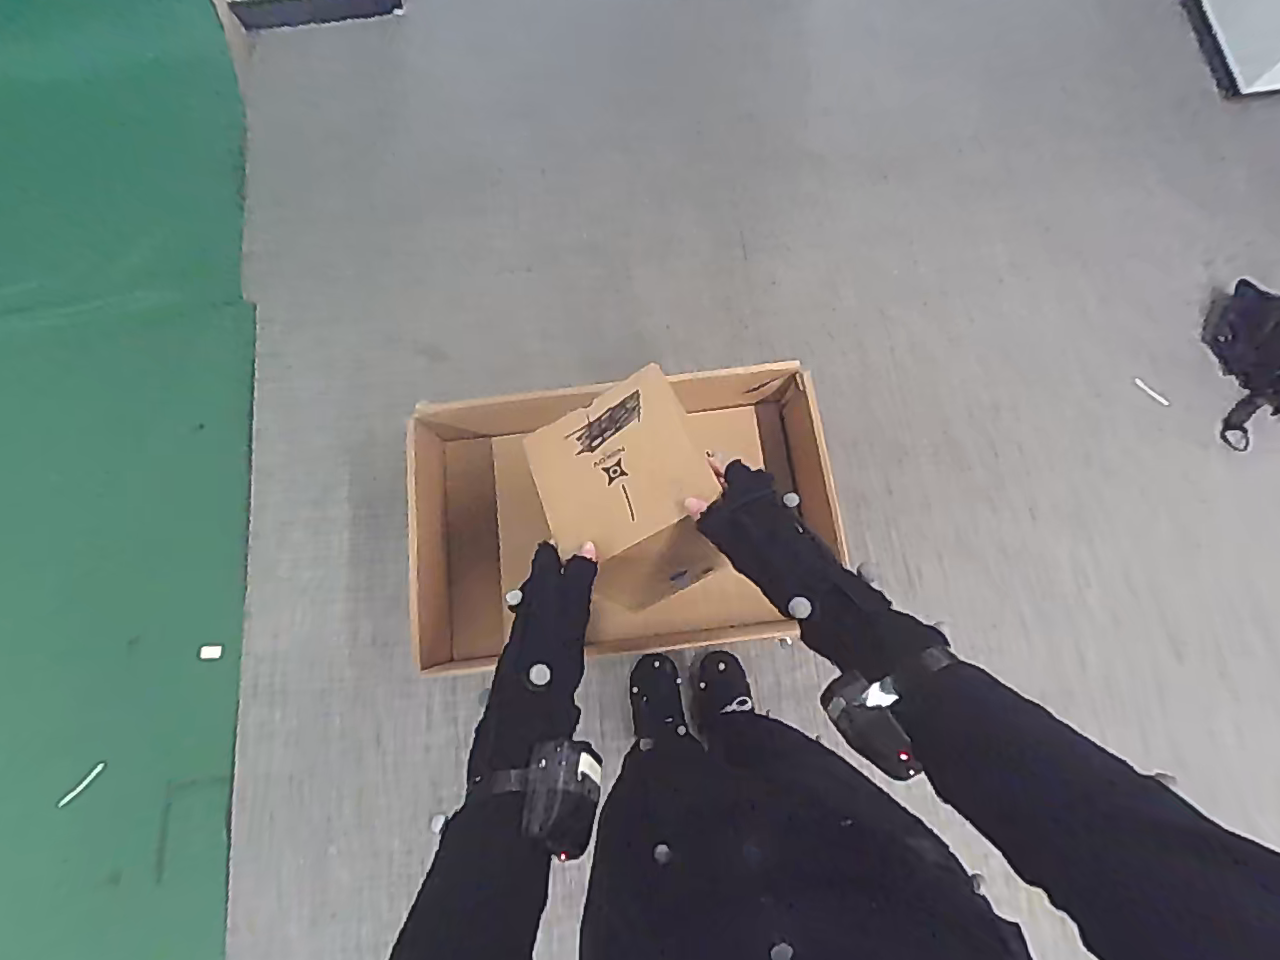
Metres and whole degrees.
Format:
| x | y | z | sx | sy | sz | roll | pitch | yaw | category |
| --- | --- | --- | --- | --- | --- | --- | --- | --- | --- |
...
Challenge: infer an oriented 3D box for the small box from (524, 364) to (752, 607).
| x | y | z | sx | sy | sz | roll | pitch | yaw | category |
| --- | --- | --- | --- | --- | --- | --- | --- | --- | --- |
| 0.002 | 0.016 | 0.593 | 0.168 | 0.176 | 0.179 | -30 | 58 | 9 | small box |
